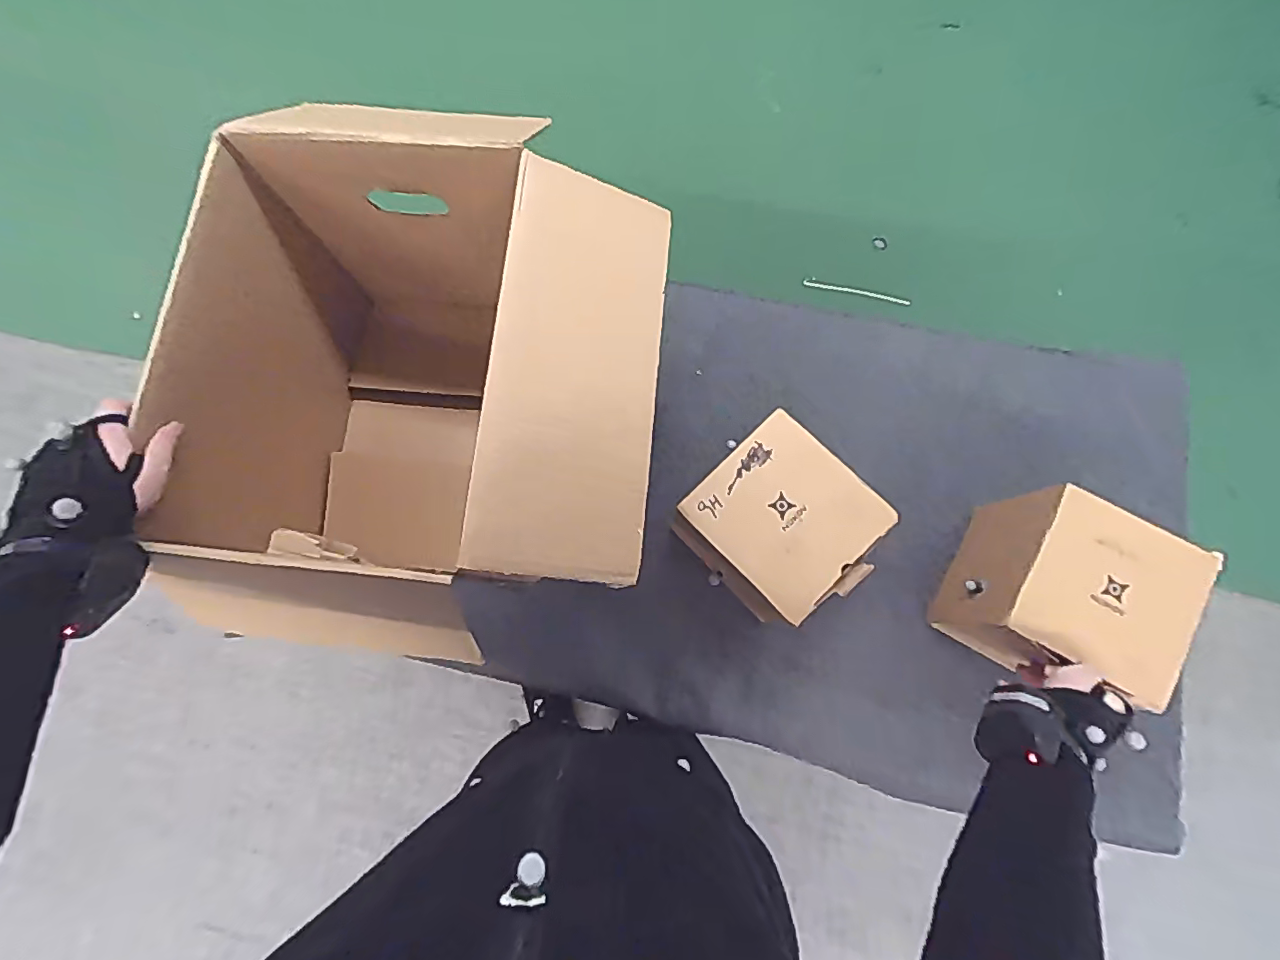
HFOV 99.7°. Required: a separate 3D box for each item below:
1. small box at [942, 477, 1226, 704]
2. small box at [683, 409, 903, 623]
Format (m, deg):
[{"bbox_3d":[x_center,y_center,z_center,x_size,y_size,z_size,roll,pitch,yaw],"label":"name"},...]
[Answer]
[{"bbox_3d":[0.489,0.125,0.627,0.168,0.176,0.179,29,80,7],"label":"small box"},{"bbox_3d":[0.169,0.048,0.659,0.168,0.176,0.179,-43,80,-6],"label":"small box"}]
